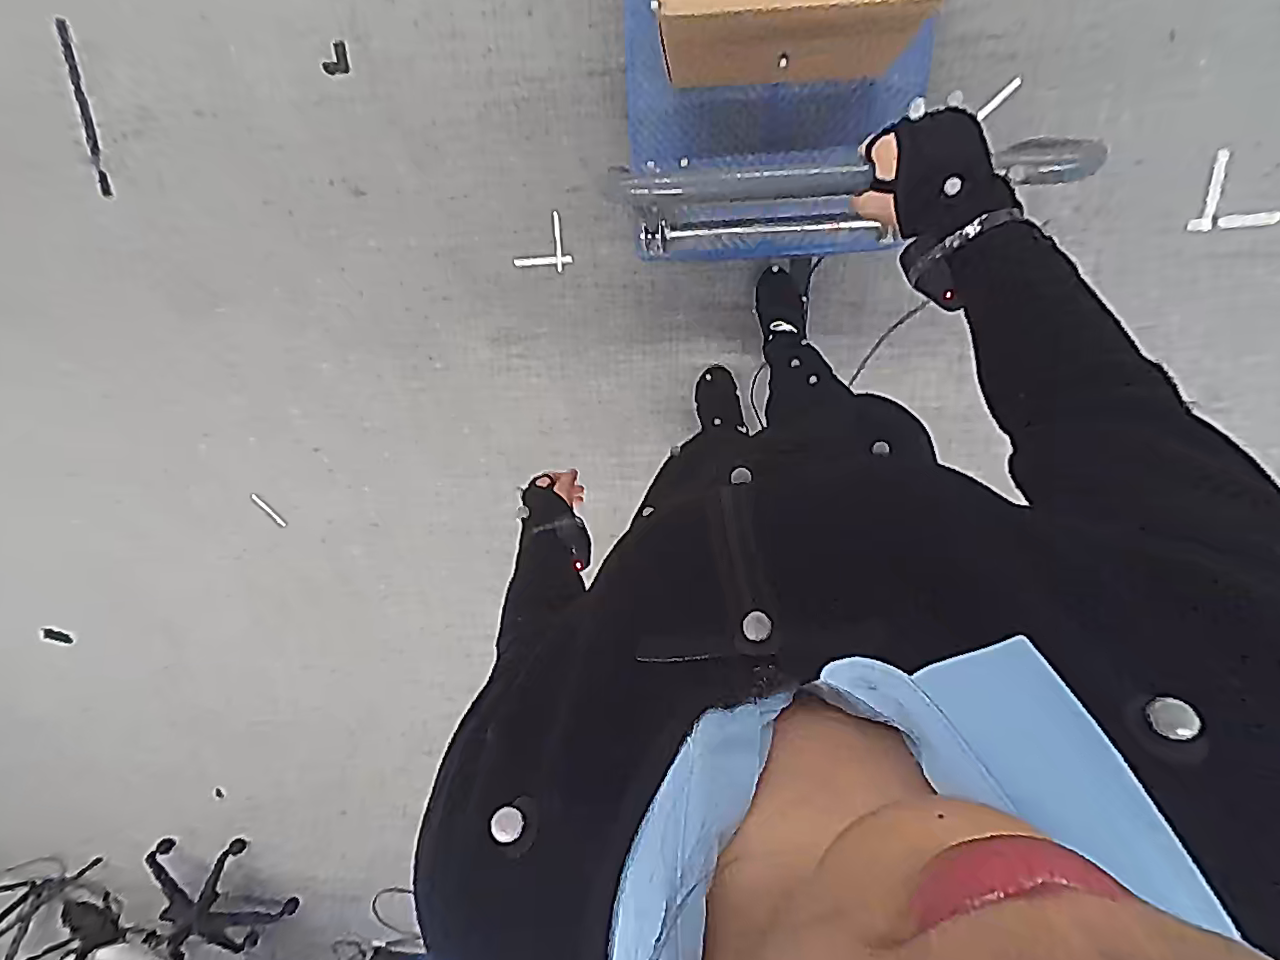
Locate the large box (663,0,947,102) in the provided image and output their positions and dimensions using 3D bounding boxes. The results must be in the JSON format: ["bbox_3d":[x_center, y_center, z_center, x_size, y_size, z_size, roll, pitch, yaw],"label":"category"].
[{"bbox_3d":[0.253,-0.853,0.877,0.408,0.320,0.320,2,107,9],"label":"large box"}]
